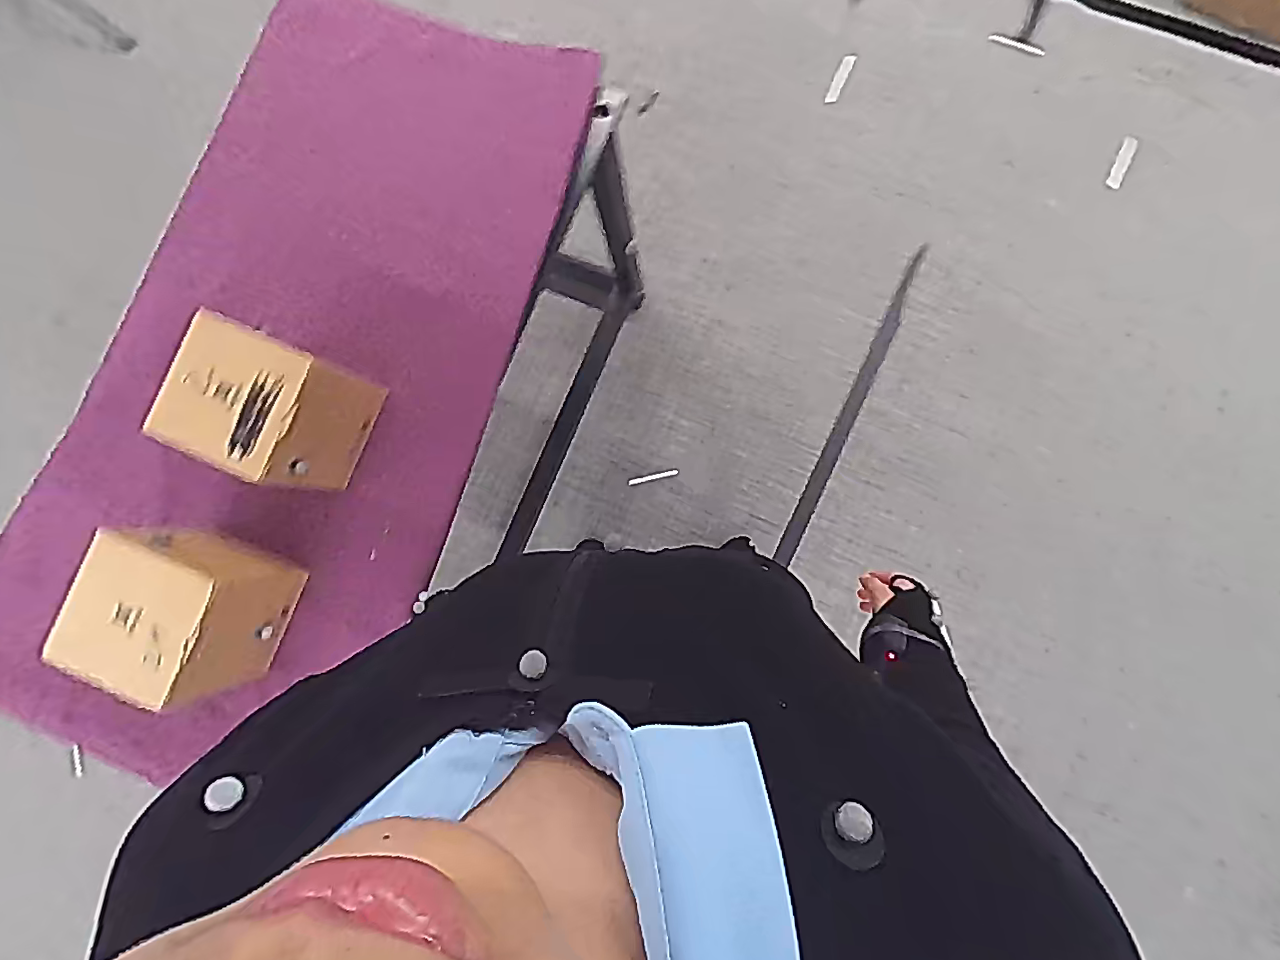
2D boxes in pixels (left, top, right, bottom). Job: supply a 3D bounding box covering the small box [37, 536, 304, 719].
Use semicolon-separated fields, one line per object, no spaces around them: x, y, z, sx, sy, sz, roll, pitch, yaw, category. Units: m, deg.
-0.603;0.182;0.719;0.179;0.176;0.168;21;86;5;small box
